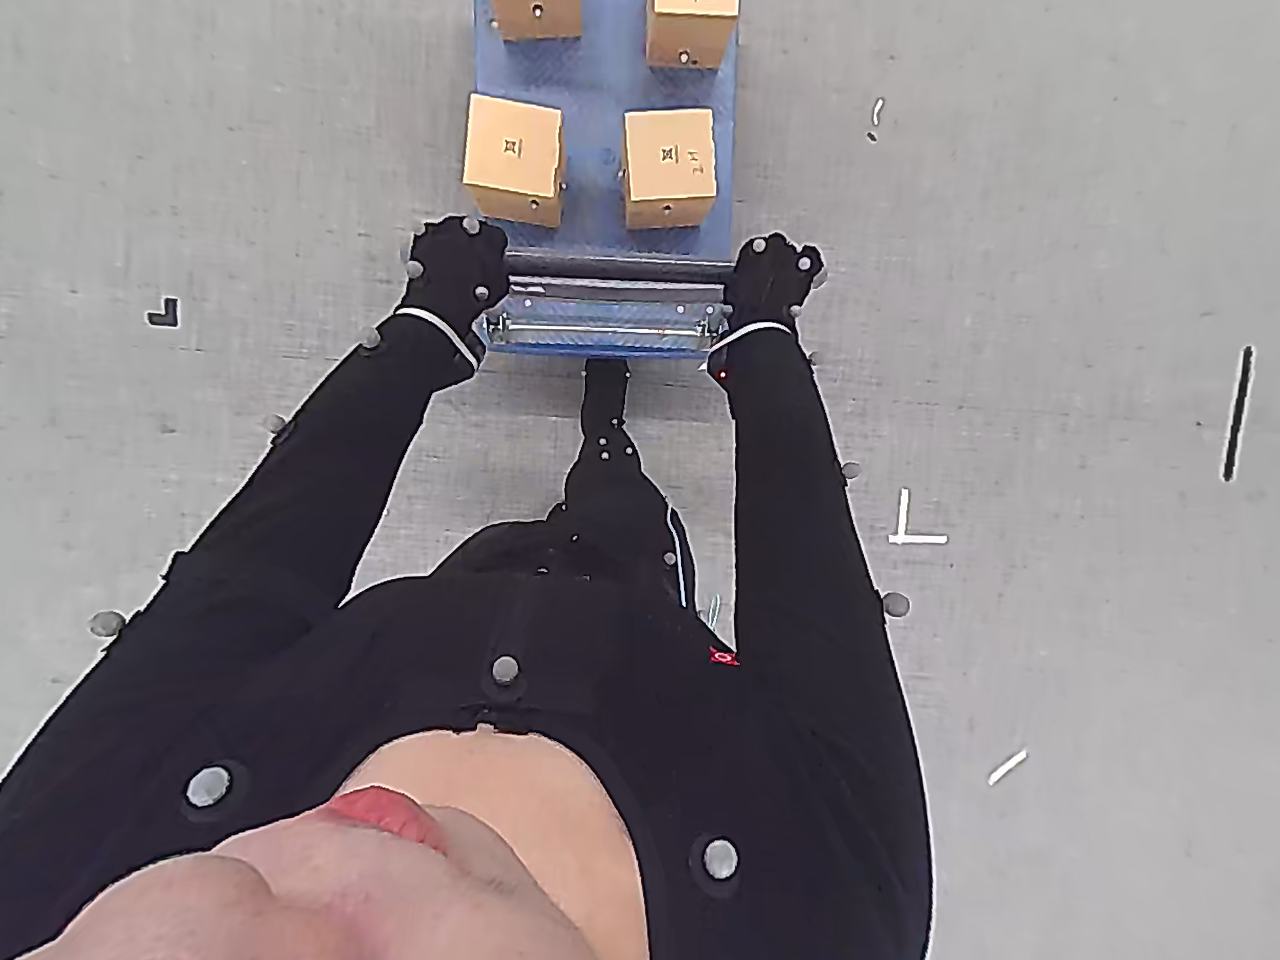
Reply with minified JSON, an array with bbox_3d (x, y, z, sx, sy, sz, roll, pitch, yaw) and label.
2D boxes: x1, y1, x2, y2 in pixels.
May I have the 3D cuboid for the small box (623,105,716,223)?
[{"bbox_3d":[0.056,-0.658,1.145,0.179,0.176,0.168,-5,98,-4],"label":"small box"}]

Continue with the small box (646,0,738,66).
[{"bbox_3d":[0.102,-0.998,1.107,0.168,0.176,0.179,-1,98,-4],"label":"small box"}]

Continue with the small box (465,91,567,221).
[{"bbox_3d":[-0.250,-0.658,1.121,0.179,0.176,0.168,6,96,-7],"label":"small box"}]
